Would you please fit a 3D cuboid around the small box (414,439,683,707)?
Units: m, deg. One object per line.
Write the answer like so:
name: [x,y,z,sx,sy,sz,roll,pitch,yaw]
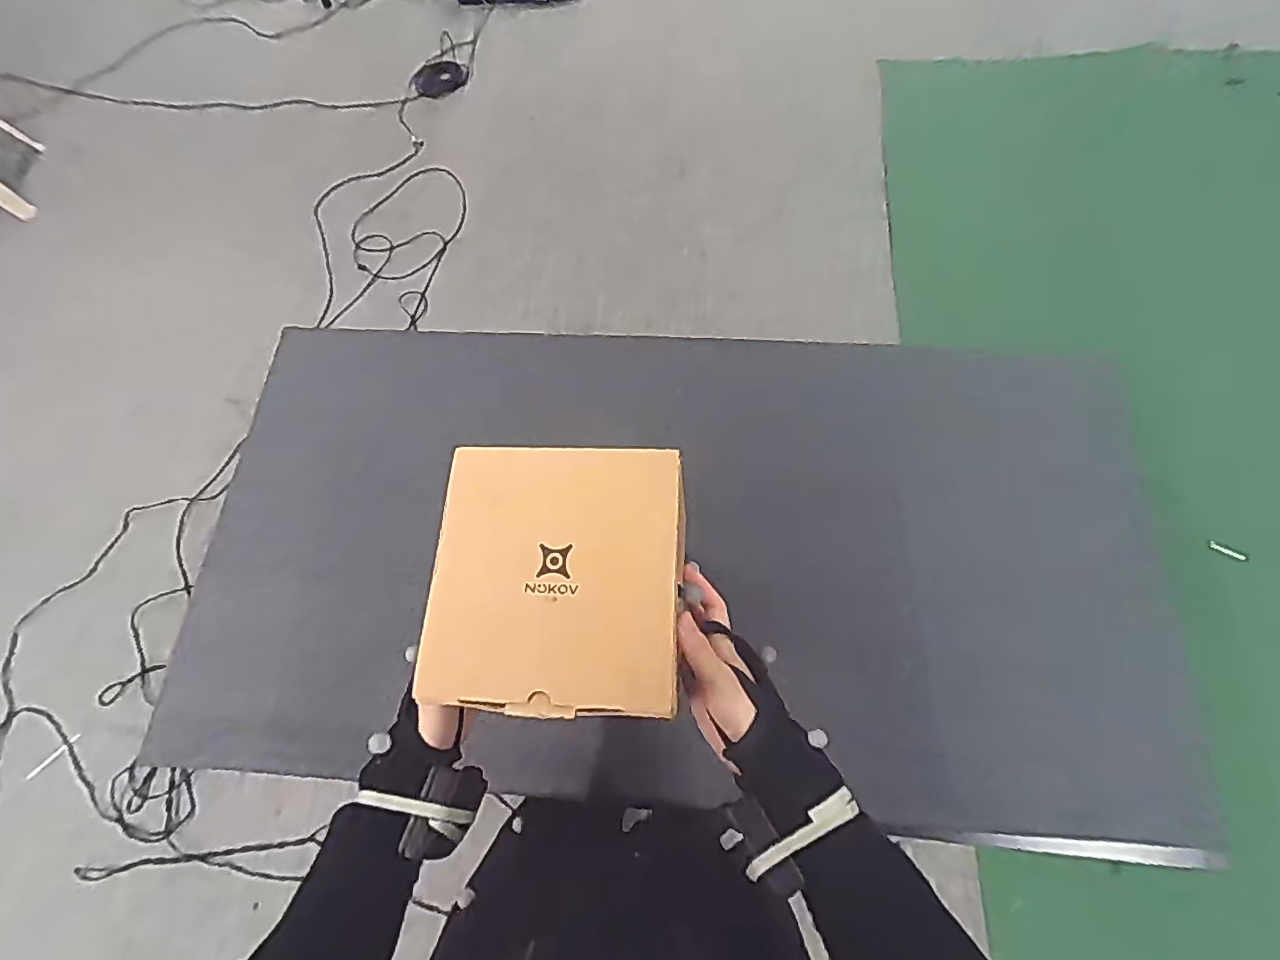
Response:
small box: [-0.051,0.081,0.434,0.168,0.176,0.179,1,70,5]
